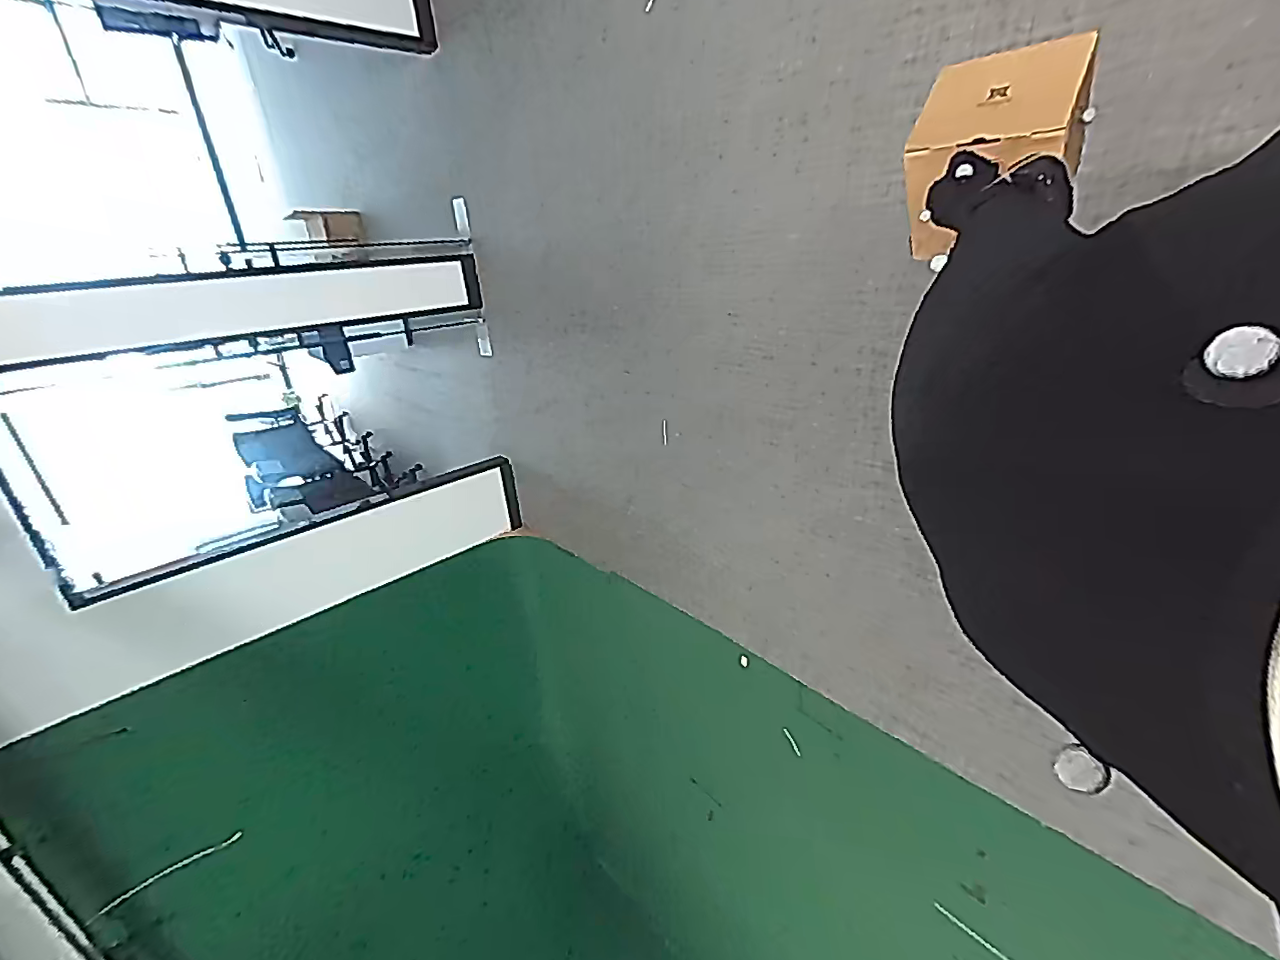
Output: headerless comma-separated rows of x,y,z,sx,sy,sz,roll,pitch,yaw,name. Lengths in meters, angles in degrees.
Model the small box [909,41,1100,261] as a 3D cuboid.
0.475,-0.419,0.716,0.168,0.179,0.176,14,157,39,small box
